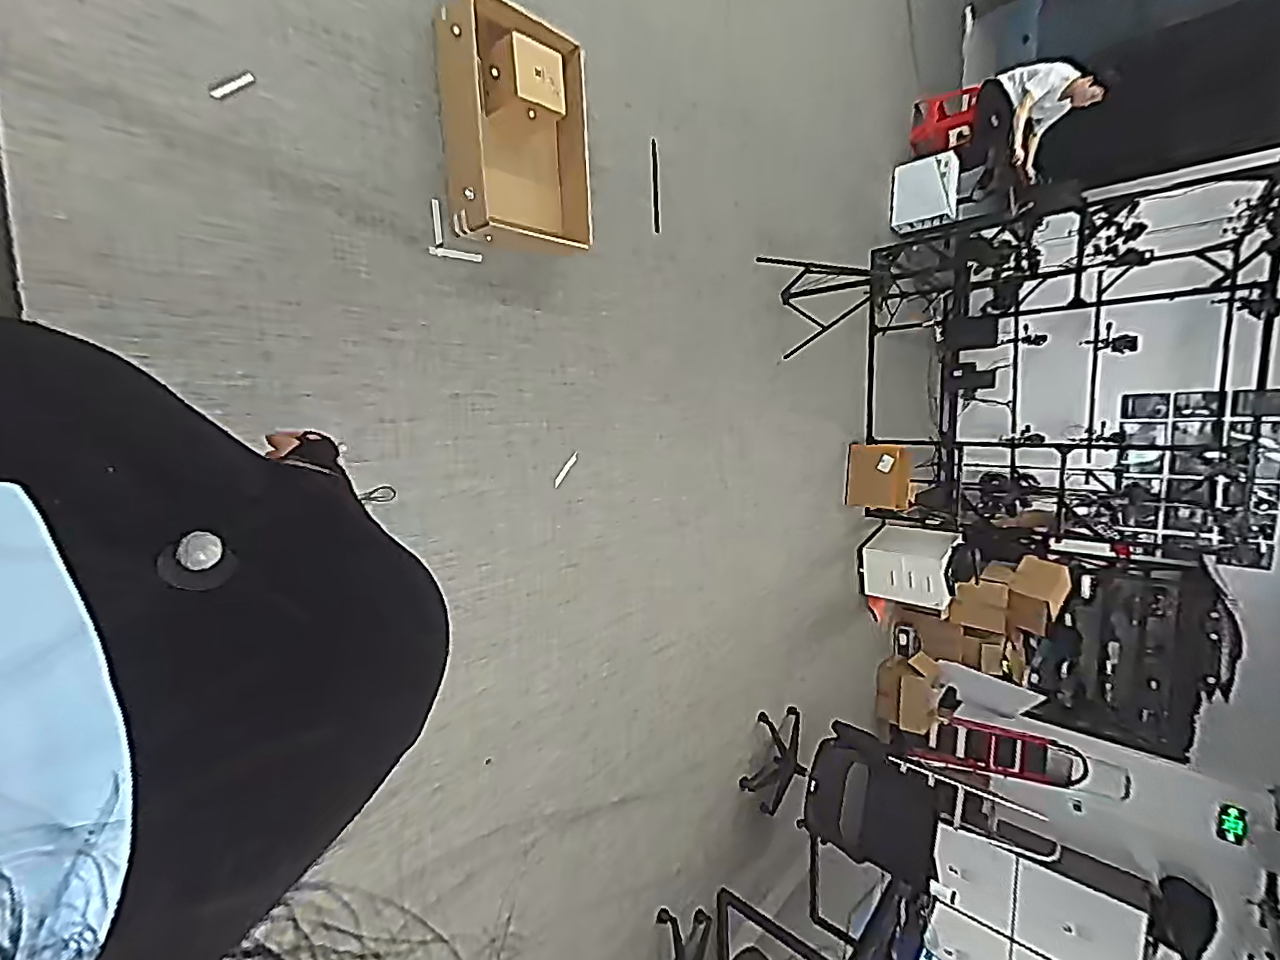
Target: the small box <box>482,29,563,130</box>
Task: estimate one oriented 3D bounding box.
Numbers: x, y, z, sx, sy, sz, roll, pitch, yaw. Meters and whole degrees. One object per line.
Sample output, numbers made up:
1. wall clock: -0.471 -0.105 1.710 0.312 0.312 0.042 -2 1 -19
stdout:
1. small box: -0.353 -1.173 1.603 0.179 0.176 0.168 -13 105 -46
